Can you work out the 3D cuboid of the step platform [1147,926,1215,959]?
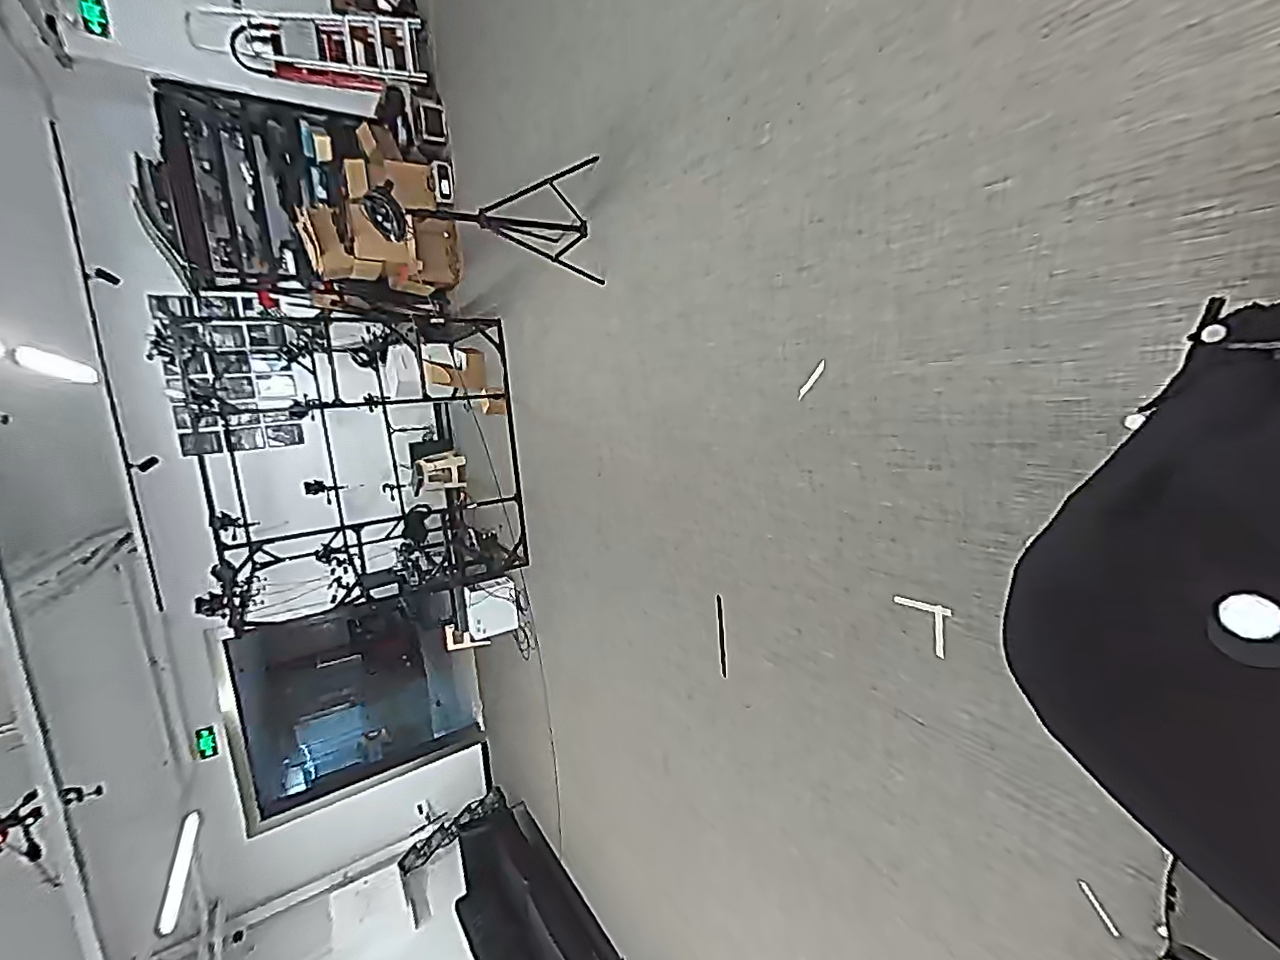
[{"bbox_3d":[1.306,1.179,0.929,0.684,0.204,0.286,9,106,59],"label":"step platform"}]
